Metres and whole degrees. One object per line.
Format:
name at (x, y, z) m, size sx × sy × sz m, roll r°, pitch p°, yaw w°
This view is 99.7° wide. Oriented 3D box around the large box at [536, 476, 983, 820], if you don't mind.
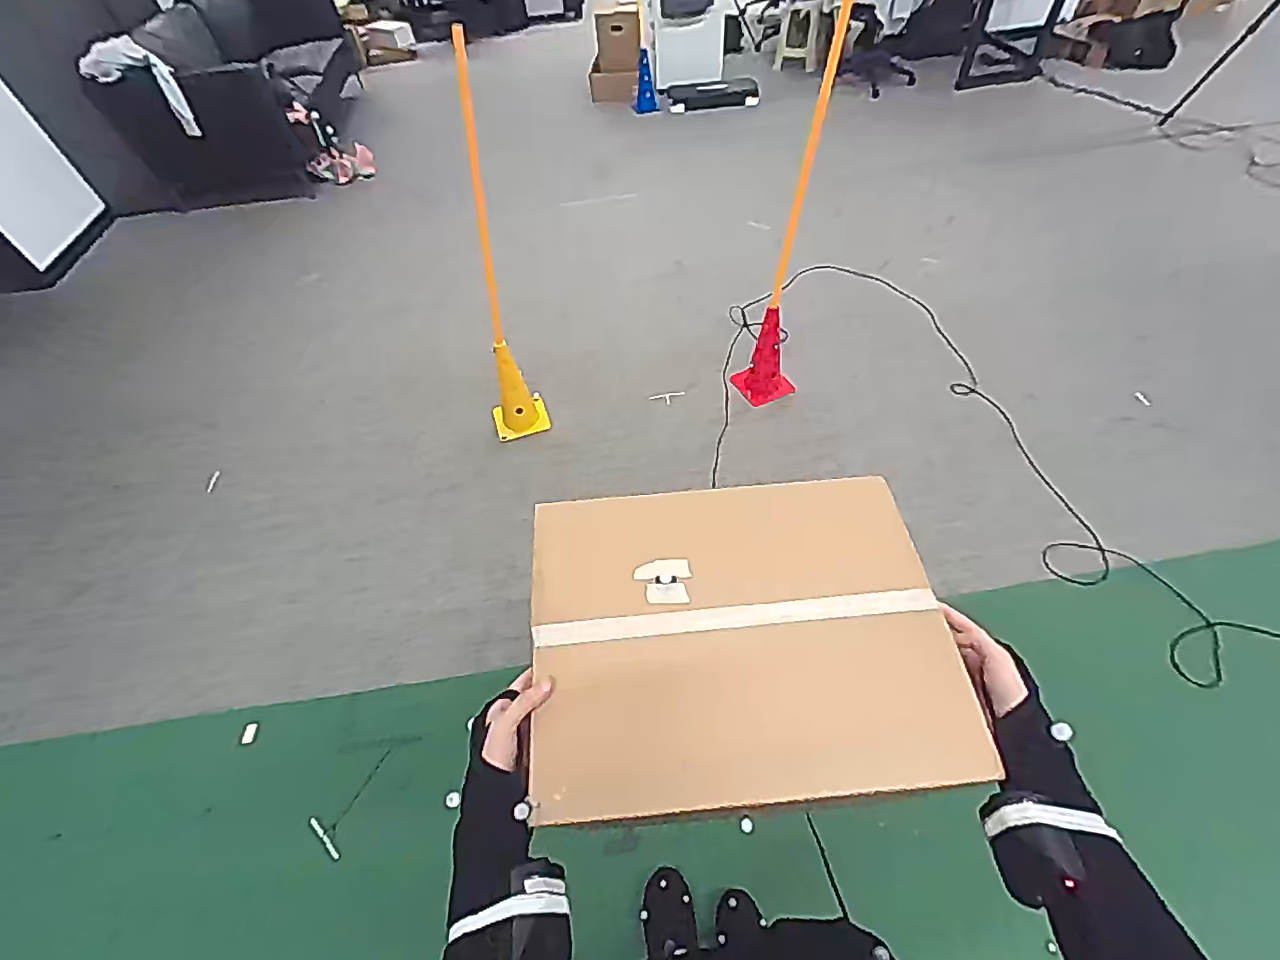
large box at (0.101, 0.223, 0.676) m, size 0.408 × 0.320 × 0.320 m, roll -6°, pitch 56°, yaw -1°
